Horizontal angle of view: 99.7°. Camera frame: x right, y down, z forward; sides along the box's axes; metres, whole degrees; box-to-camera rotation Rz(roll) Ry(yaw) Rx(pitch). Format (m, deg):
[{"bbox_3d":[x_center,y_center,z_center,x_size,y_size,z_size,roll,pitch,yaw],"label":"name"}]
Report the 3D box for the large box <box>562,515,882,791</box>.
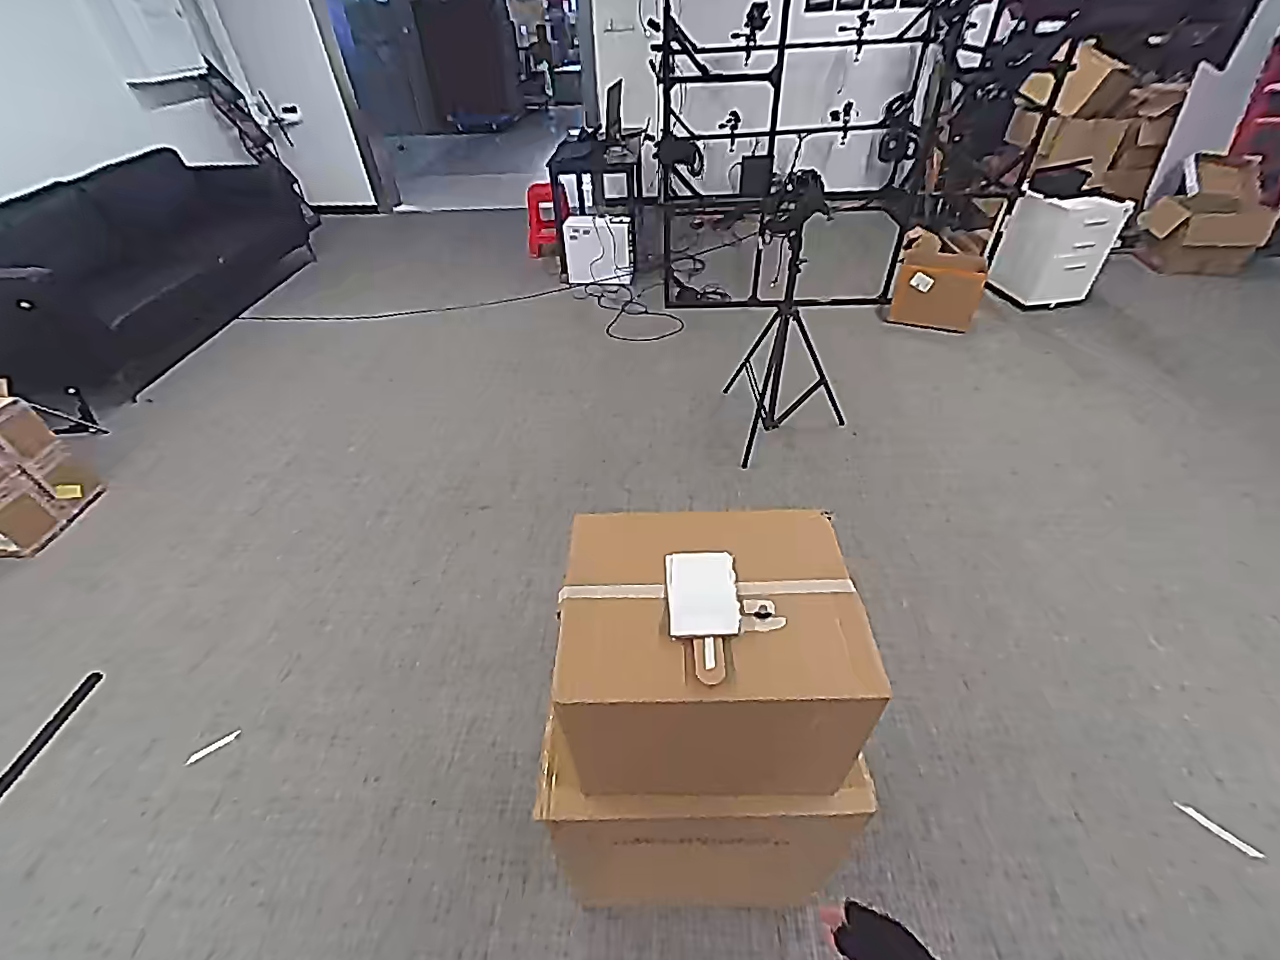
[{"bbox_3d":[0.100,0.275,0.868,0.408,0.320,0.320,-1,42,1],"label":"large box"}]
